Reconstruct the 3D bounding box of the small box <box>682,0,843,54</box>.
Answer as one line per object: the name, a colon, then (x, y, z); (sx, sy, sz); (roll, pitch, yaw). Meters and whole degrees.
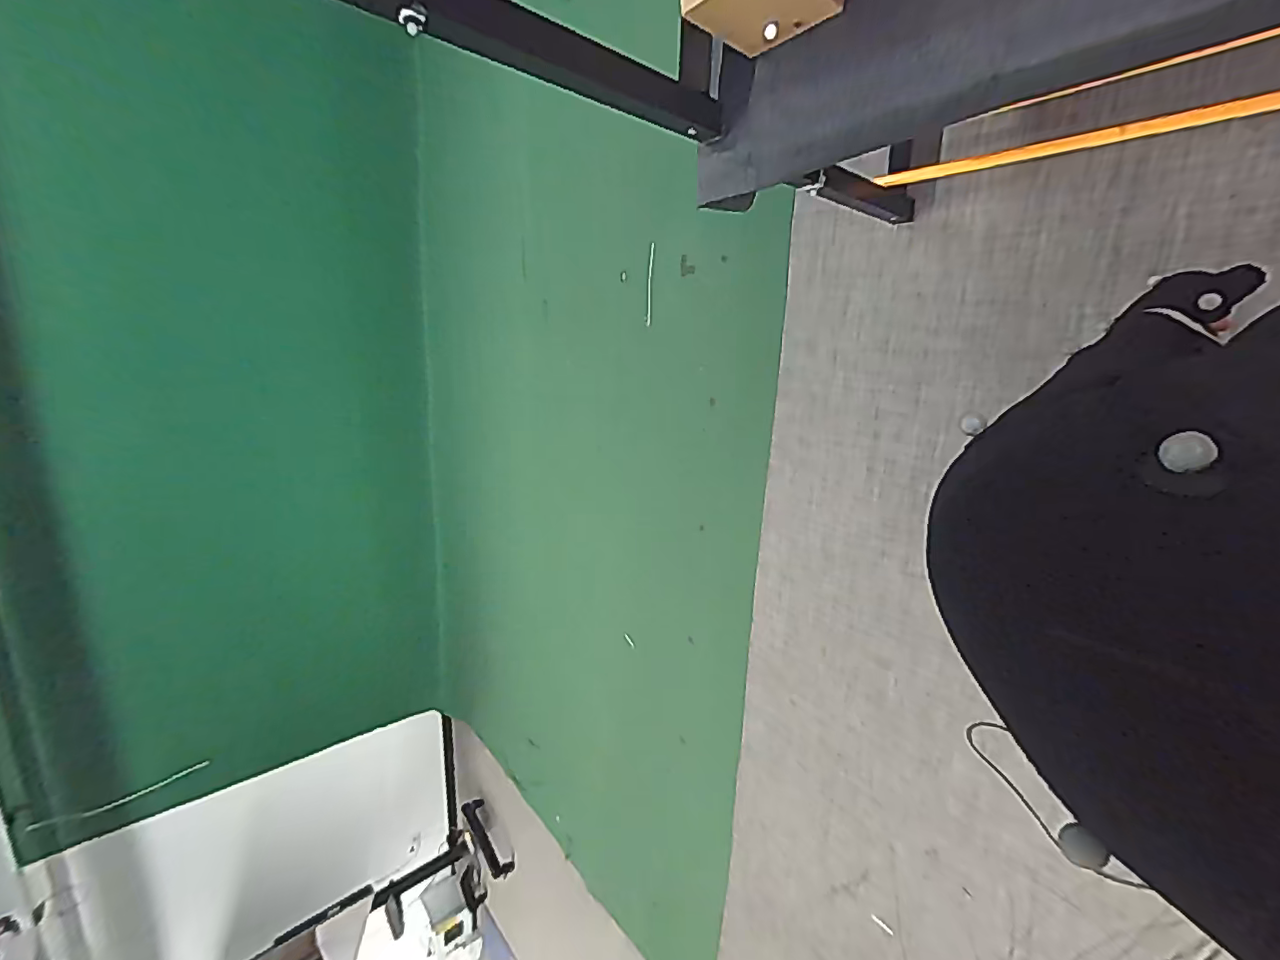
small box: (0.178, -0.753, 0.757); (0.168, 0.176, 0.179); (13, 107, 48)
